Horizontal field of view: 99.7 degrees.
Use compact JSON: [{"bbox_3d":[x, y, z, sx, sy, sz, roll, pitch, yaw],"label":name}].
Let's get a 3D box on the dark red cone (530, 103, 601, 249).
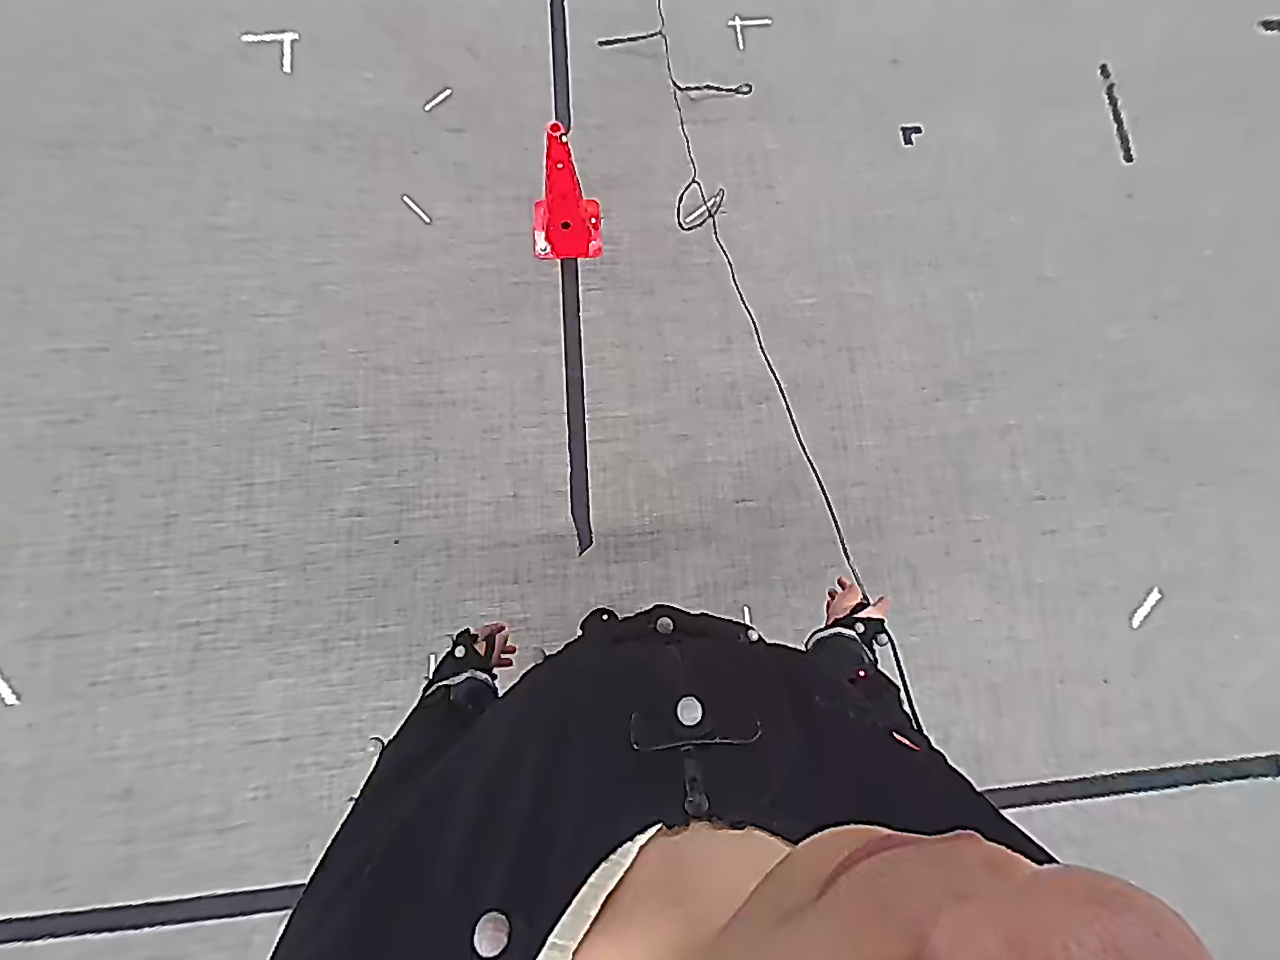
[{"bbox_3d":[-0.207,-0.800,1.425,0.201,0.394,0.202,-4,77,-5],"label":"dark red cone"}]
